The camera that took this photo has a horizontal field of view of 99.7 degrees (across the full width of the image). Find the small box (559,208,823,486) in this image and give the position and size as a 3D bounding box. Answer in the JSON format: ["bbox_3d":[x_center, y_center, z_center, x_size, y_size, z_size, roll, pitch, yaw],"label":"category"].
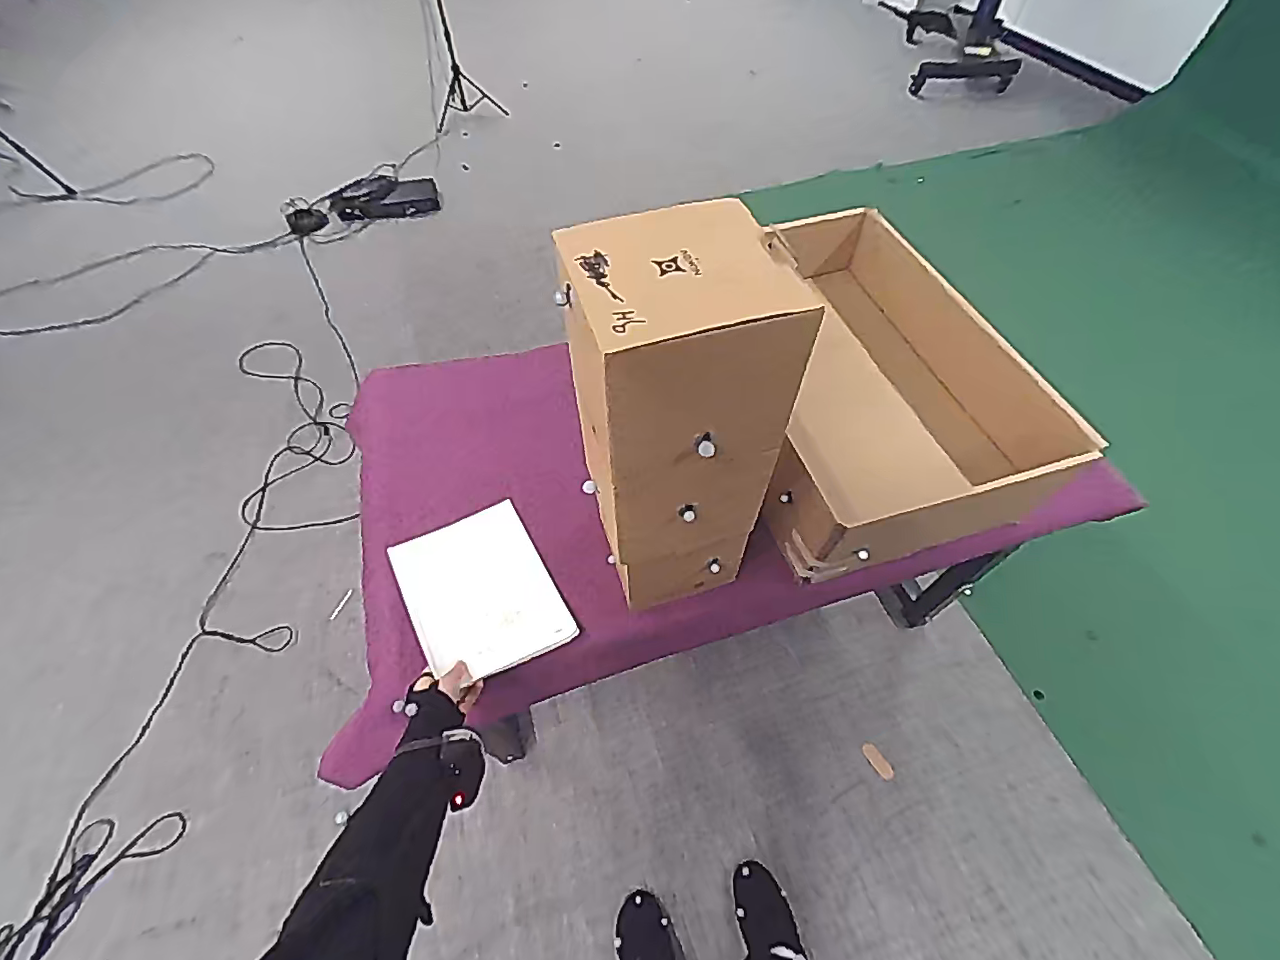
[{"bbox_3d":[0.033,-0.119,0.499,0.179,0.176,0.168,-14,55,-10],"label":"small box"}]

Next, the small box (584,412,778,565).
[{"bbox_3d":[0.036,-0.023,0.634,0.179,0.176,0.168,-14,55,-8],"label":"small box"}]
